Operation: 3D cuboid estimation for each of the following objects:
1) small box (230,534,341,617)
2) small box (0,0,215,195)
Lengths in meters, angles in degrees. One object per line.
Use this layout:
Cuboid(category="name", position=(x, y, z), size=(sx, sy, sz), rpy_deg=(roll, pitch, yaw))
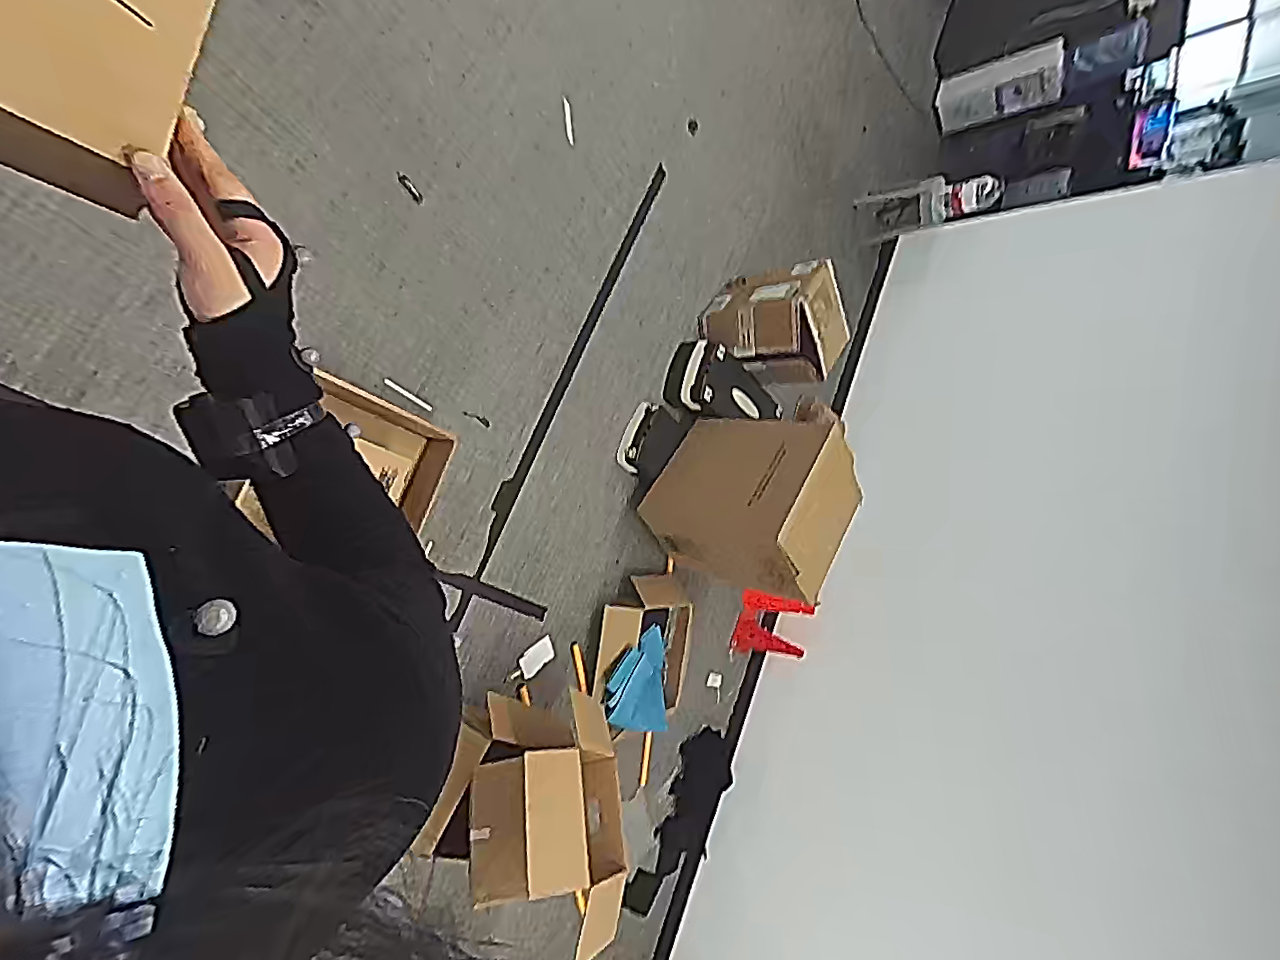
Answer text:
Cuboid(category="small box", position=(-0.803, 0.231, 1.247), size=(0.179, 0.176, 0.168), rpy_deg=(33, 73, -46))
Cuboid(category="small box", position=(-0.373, -0.292, 0.310), size=(0.179, 0.176, 0.168), rpy_deg=(17, 89, -48))
